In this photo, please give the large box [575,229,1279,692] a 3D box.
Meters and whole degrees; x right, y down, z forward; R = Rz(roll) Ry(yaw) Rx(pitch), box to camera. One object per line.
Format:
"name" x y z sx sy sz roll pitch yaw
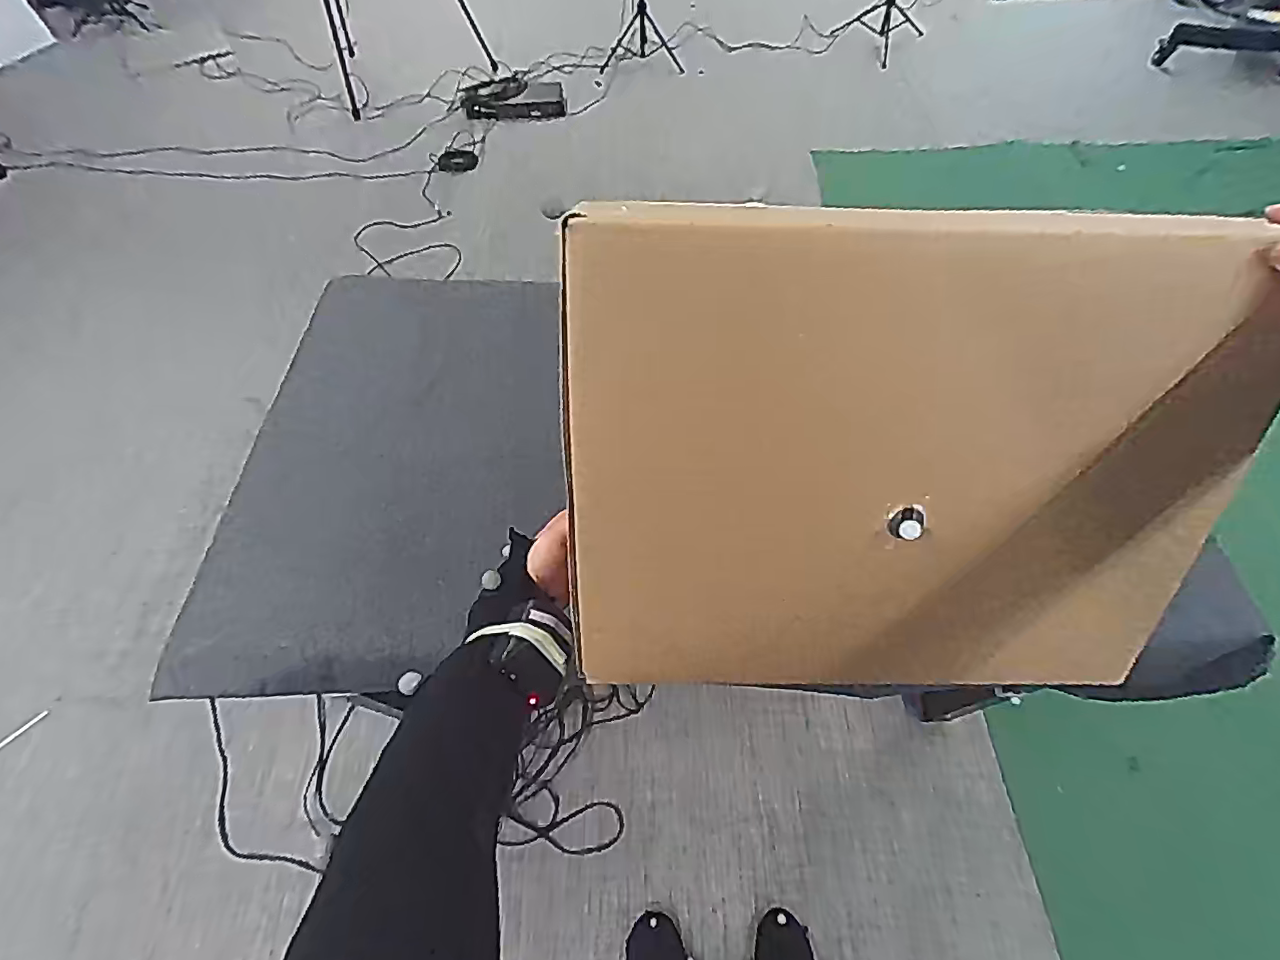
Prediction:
"large box" 0.161 -0.044 0.479 0.408 0.320 0.320 -1 26 -2
